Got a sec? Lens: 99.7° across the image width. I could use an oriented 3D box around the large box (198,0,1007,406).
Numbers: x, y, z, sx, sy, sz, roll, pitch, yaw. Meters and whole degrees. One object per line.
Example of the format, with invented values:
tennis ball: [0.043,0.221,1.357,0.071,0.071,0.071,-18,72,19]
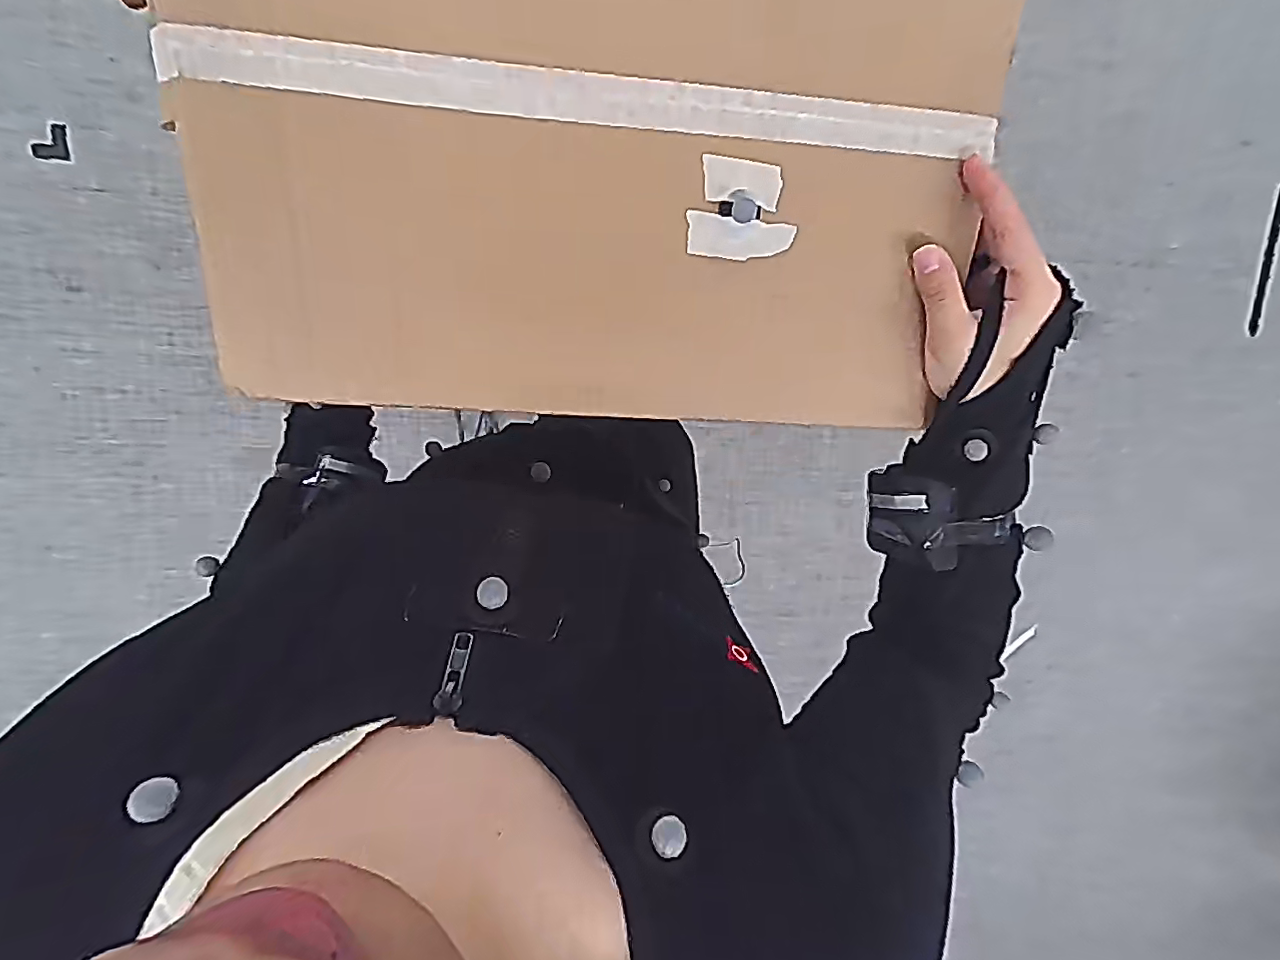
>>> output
large box: [-0.027,-0.237,0.420,0.408,0.320,0.320,1,108,-8]
